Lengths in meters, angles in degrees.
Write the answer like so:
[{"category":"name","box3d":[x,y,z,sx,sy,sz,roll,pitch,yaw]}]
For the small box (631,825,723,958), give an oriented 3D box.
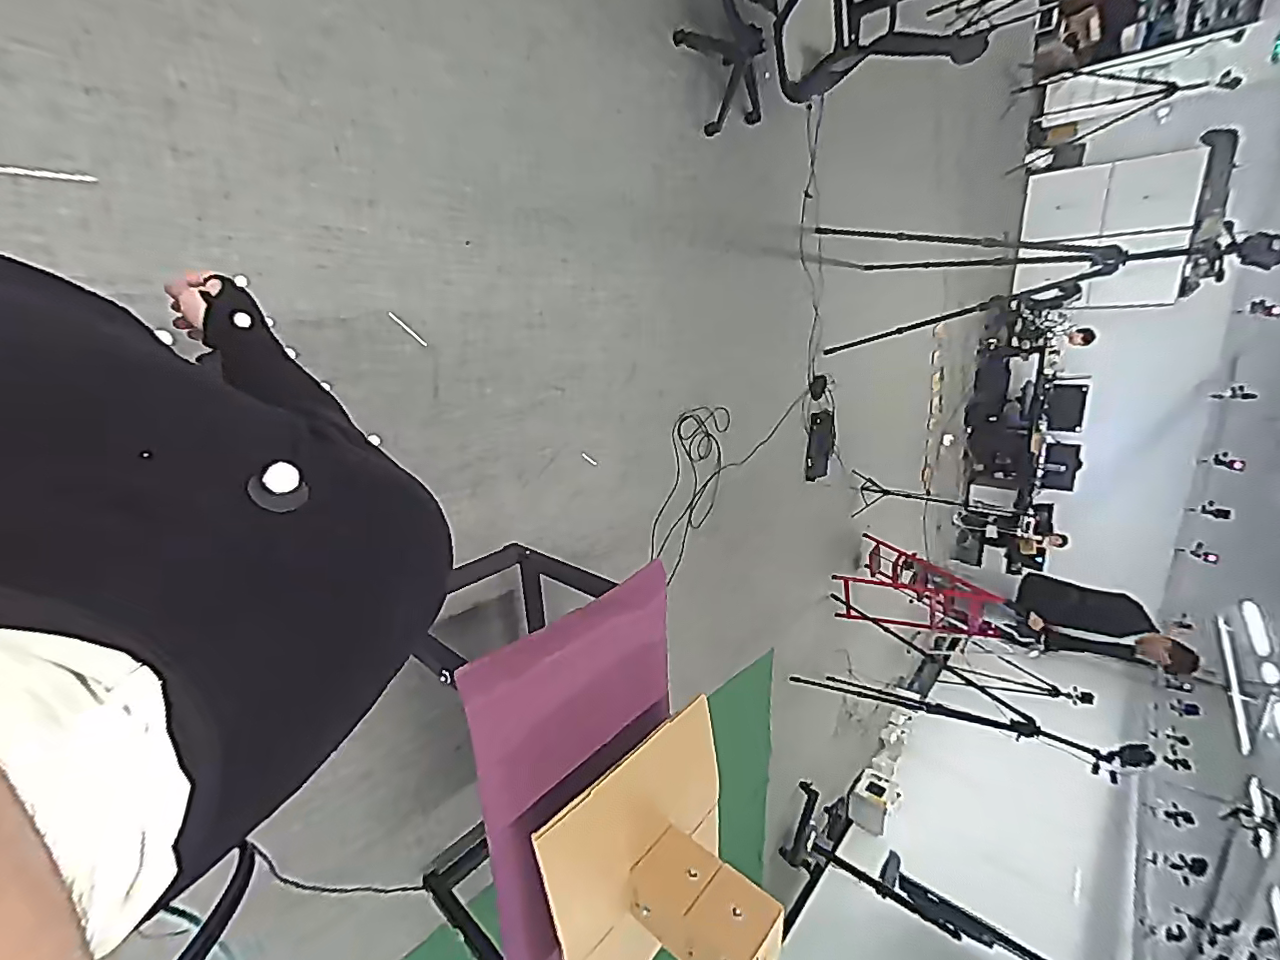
[{"category":"small box","box3d":[0.094,1.046,1.394,0.179,0.176,0.168,-20,115,-44]}]
